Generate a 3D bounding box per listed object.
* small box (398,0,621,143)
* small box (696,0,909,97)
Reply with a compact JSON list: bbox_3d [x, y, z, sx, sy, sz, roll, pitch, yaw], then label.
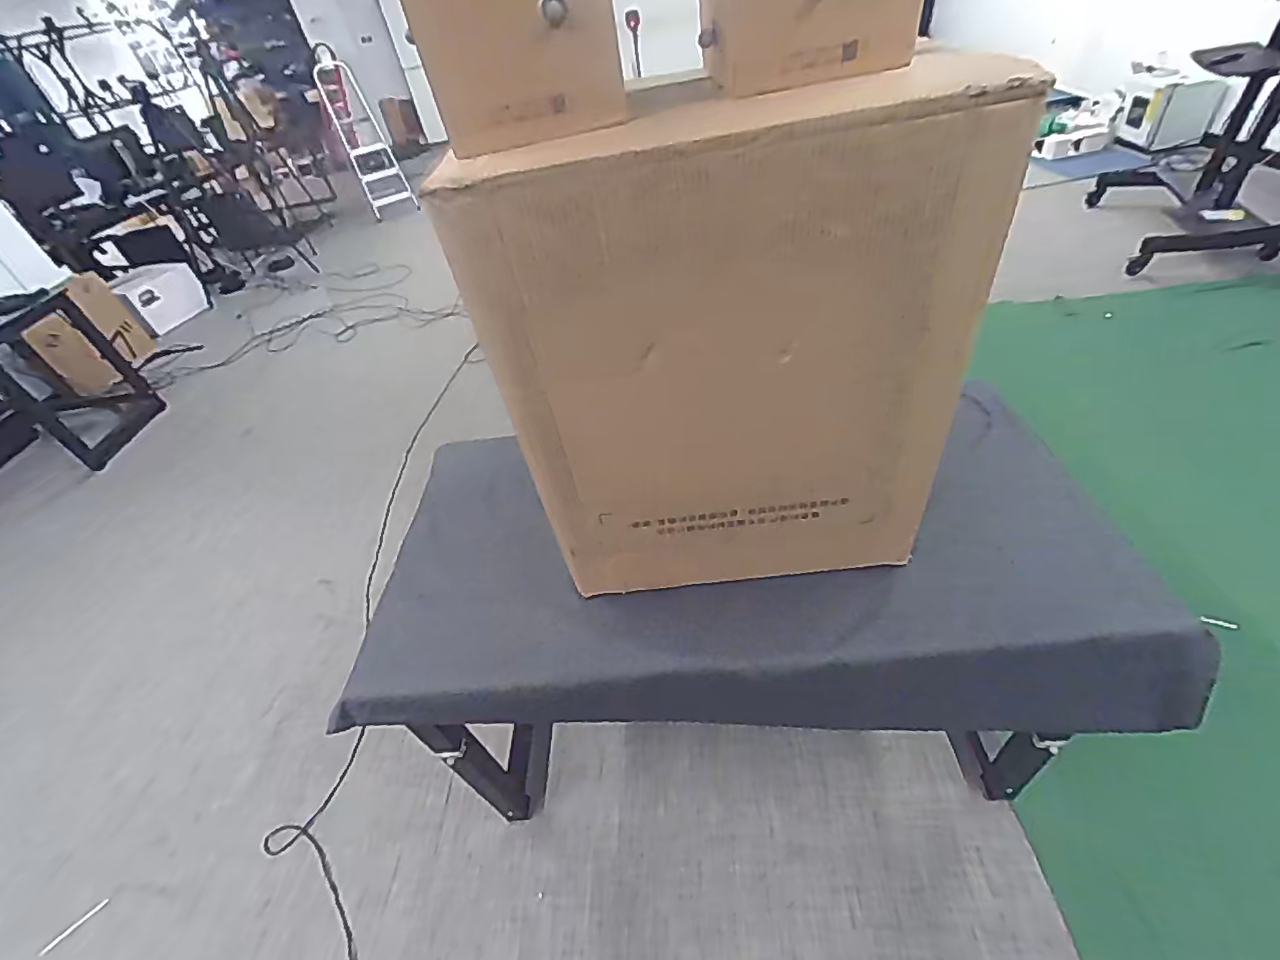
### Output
[{"bbox_3d":[-0.121,-0.434,0.497,0.168,0.176,0.179,-14,46,-1],"label":"small box"},{"bbox_3d":[0.143,-0.479,0.501,0.168,0.176,0.179,-10,46,3],"label":"small box"}]
